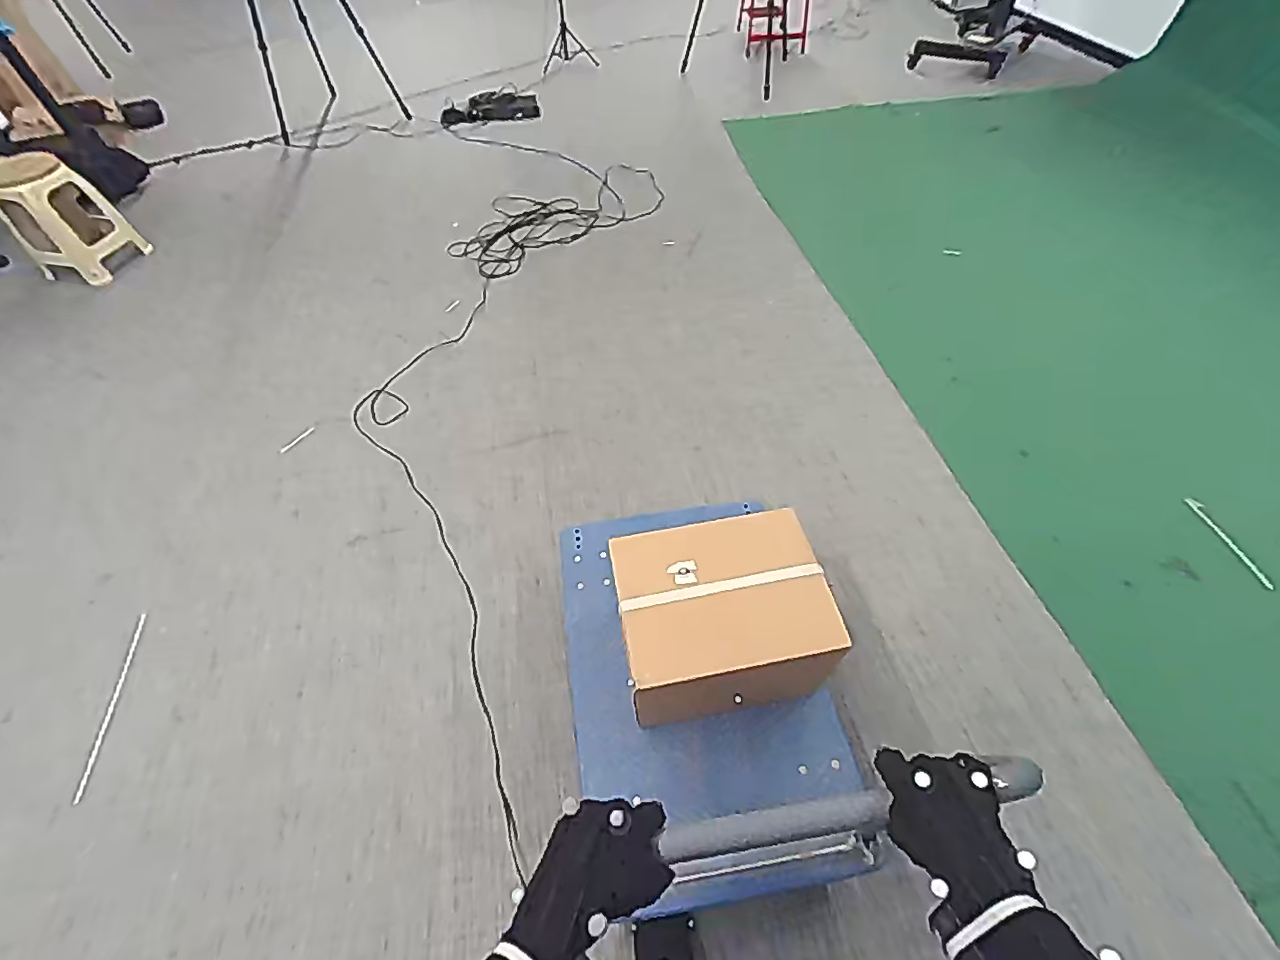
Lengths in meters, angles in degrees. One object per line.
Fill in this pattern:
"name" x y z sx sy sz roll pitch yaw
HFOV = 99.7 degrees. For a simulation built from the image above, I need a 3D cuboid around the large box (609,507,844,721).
"large box" 0.167 0.301 1.187 0.408 0.320 0.320 -11 53 -3
